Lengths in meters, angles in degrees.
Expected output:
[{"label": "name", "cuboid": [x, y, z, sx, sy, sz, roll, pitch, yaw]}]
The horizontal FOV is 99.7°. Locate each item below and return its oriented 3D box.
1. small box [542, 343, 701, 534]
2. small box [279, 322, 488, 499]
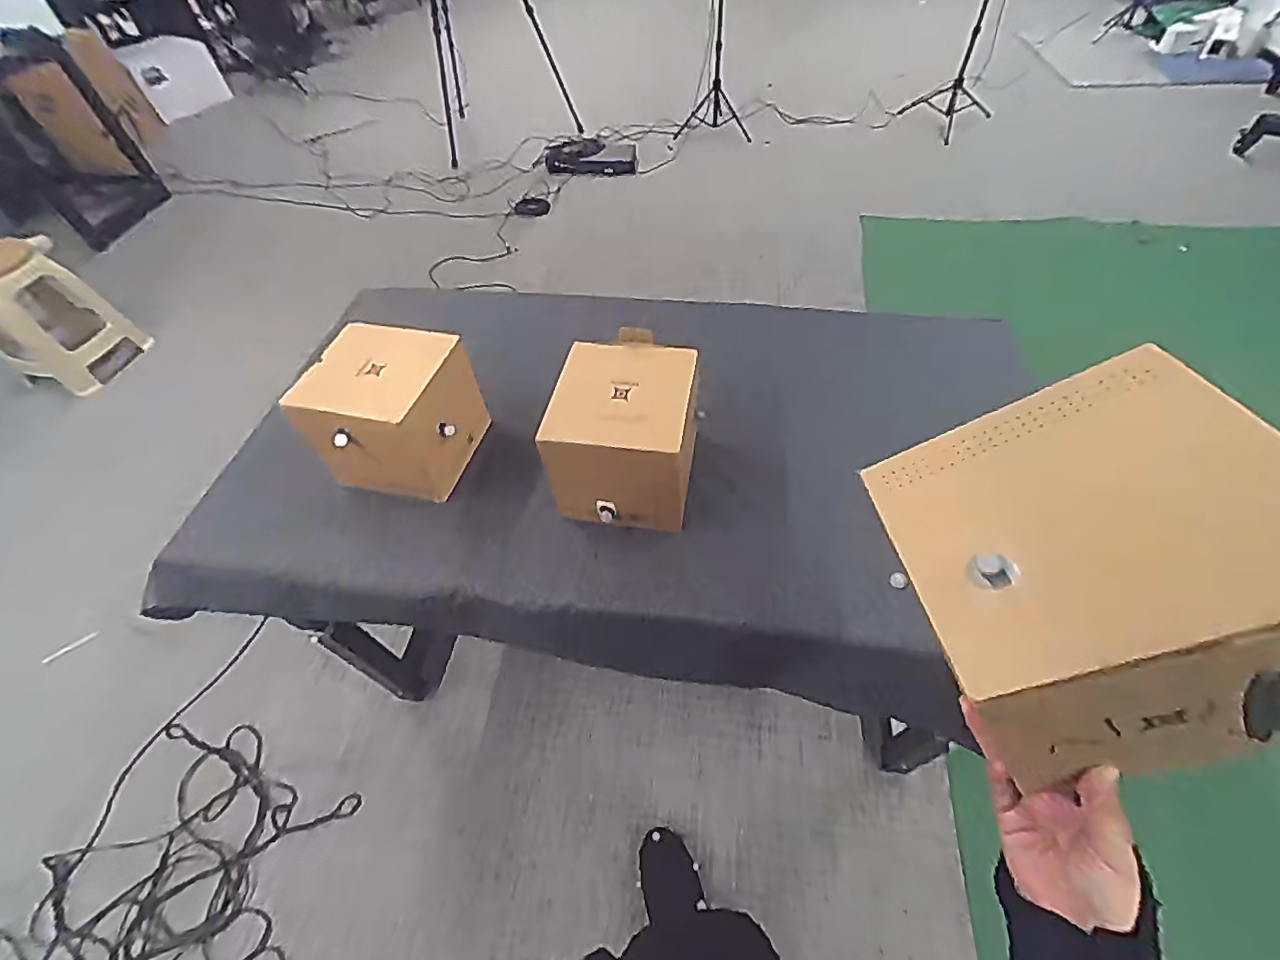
[{"label": "small box", "cuboid": [-0.014, -0.053, 0.707, 0.168, 0.176, 0.179, 5, 53, 8]}, {"label": "small box", "cuboid": [-0.336, -0.093, 0.753, 0.179, 0.176, 0.168, 10, 53, 11]}]
